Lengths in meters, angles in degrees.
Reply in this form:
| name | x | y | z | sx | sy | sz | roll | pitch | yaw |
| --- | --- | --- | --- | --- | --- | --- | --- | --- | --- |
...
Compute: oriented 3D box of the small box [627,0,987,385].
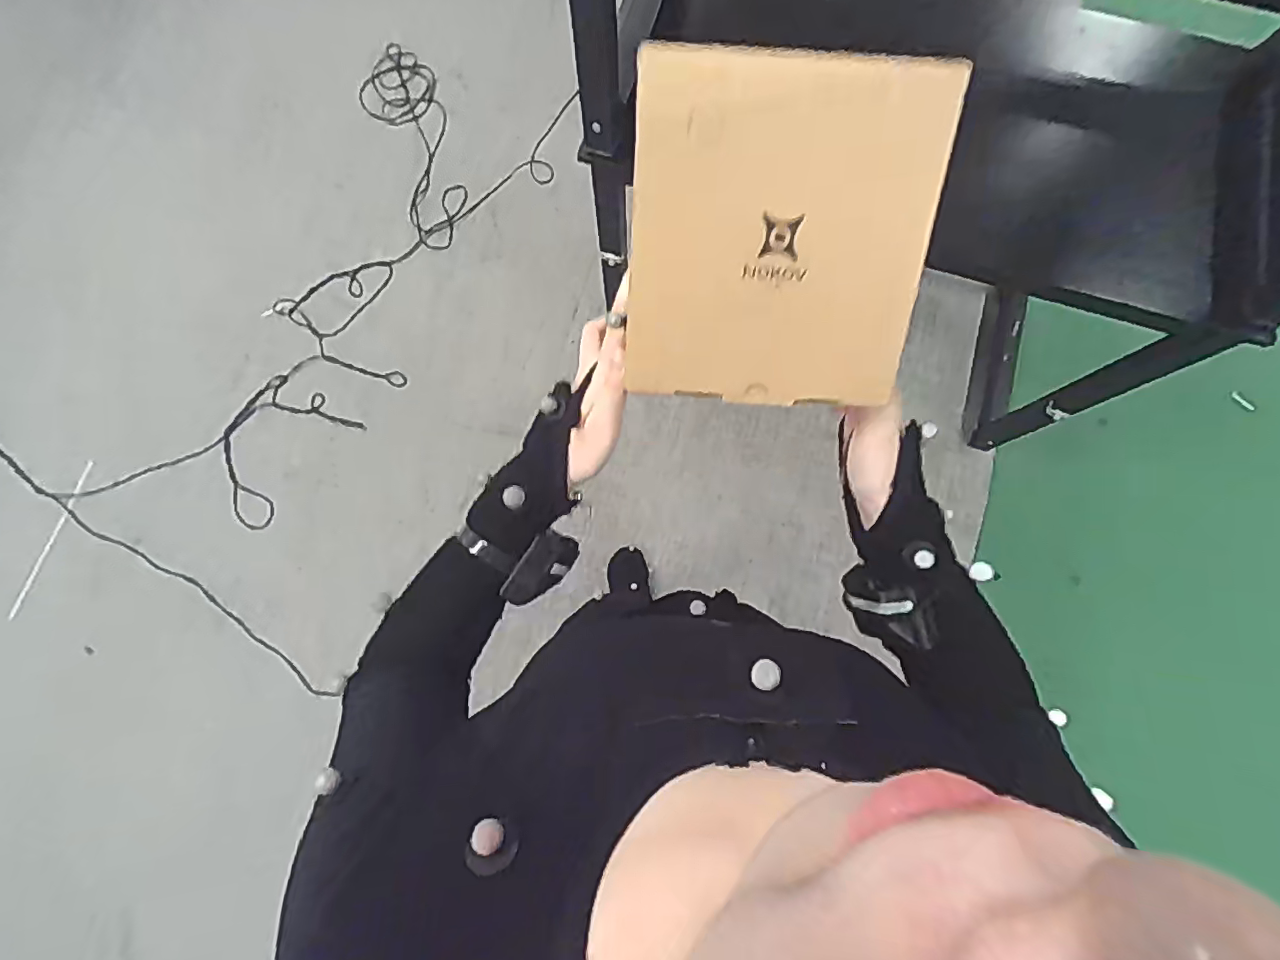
| name | x | y | z | sx | sy | sz | roll | pitch | yaw |
| --- | --- | --- | --- | --- | --- | --- | --- | --- | --- |
| small box | 0.079 | -0.170 | 0.358 | 0.168 | 0.176 | 0.179 | 3 | 113 | 1 |
